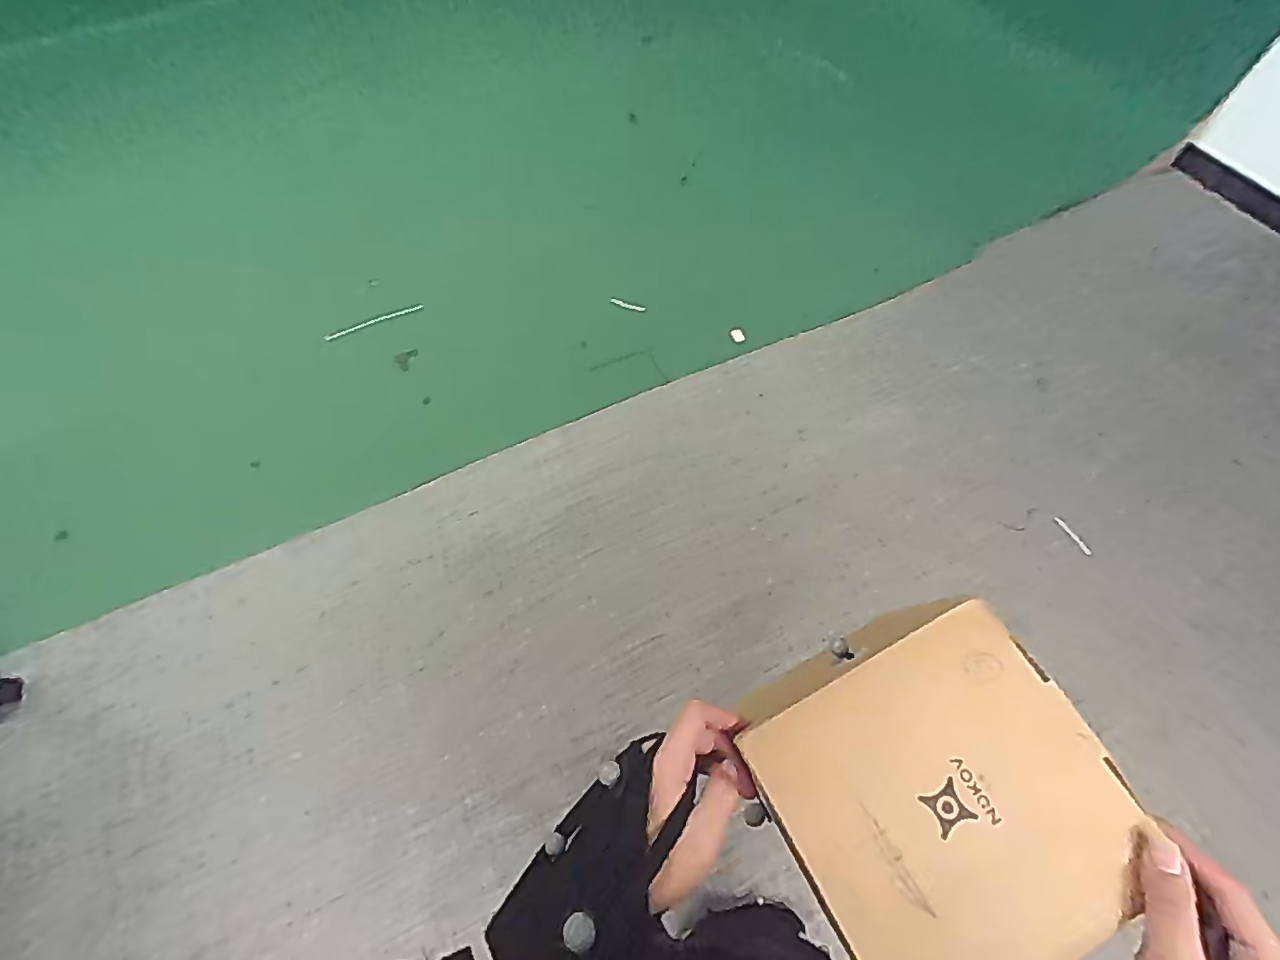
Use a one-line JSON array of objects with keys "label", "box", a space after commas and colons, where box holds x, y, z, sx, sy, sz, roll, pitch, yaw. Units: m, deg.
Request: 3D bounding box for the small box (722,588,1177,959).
[{"label": "small box", "box": [0.173, 0.196, 0.372, 0.179, 0.176, 0.168, -29, 71, -6]}]
